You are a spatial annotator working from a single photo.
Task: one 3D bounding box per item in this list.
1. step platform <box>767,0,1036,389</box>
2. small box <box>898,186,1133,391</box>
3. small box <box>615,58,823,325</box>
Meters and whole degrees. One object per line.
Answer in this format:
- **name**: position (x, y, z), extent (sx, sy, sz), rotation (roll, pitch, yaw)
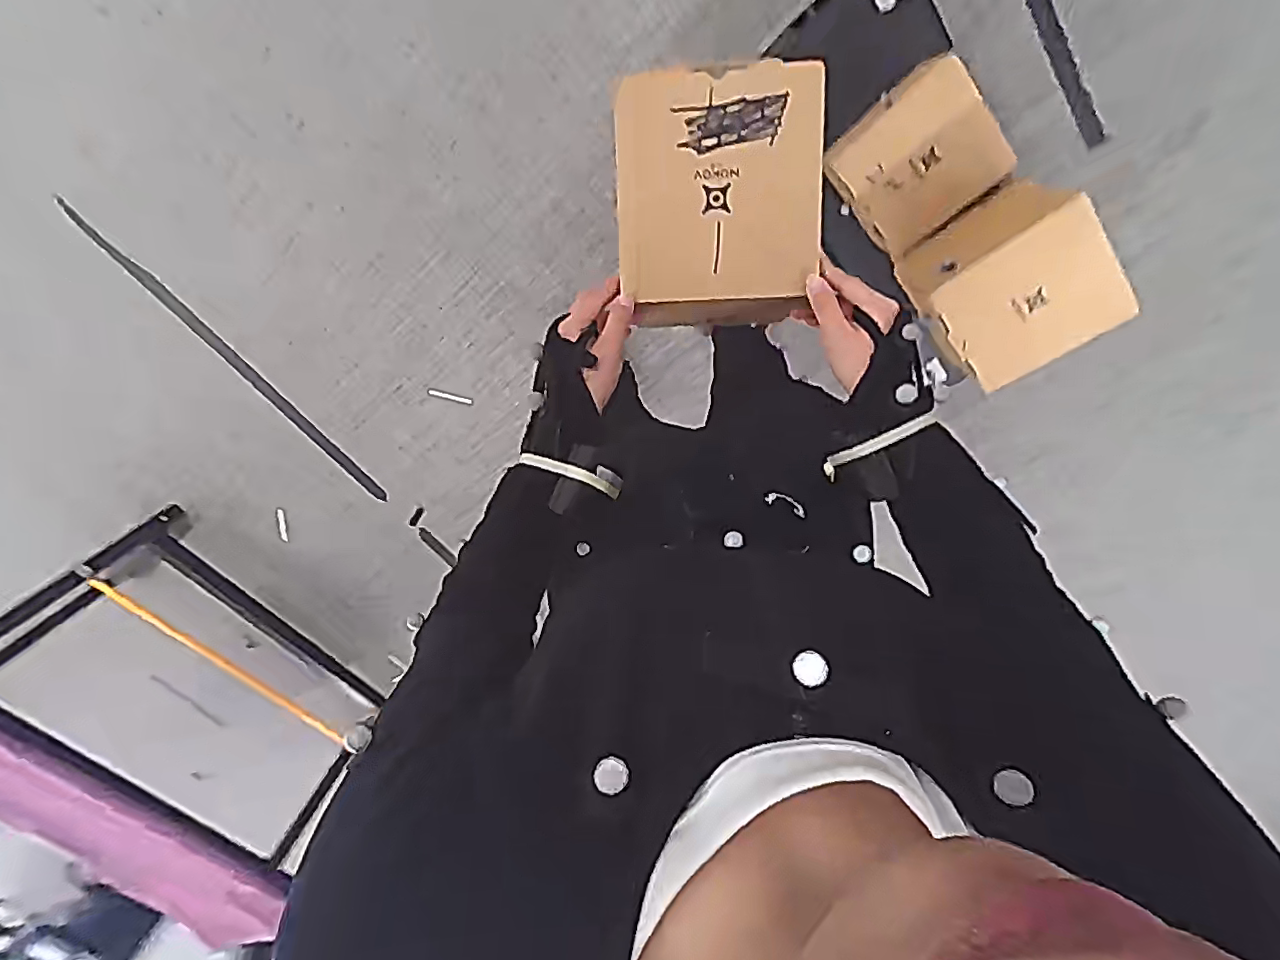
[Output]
- **step platform**: position (0.487, -0.497, 0.959), extent (0.286, 0.204, 0.684), rotation (-32, 110, 26)
- **small box**: position (0.475, -0.256, 0.710), extent (0.179, 0.176, 0.168), rotation (-33, 111, 27)
- **small box**: position (0.067, -0.251, 0.512), extent (0.168, 0.176, 0.179), rotation (-1, 99, 5)
